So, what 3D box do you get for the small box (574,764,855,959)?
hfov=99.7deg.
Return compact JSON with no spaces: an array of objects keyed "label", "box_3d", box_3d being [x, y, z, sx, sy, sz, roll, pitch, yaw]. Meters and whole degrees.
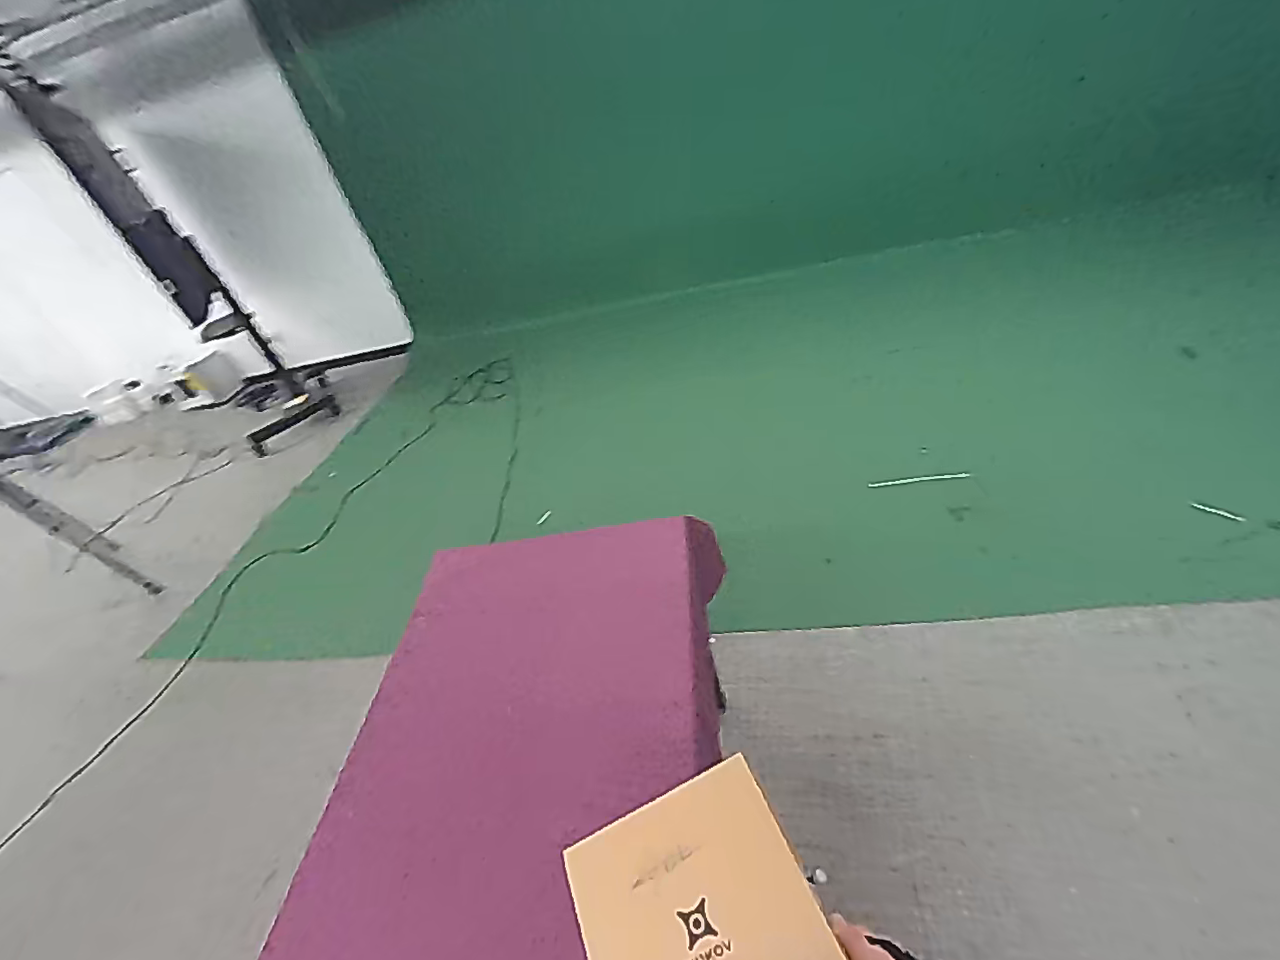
[{"label":"small box","box_3d":[0.071,0.367,0.435,0.168,0.176,0.179,-26,47,-2]}]
